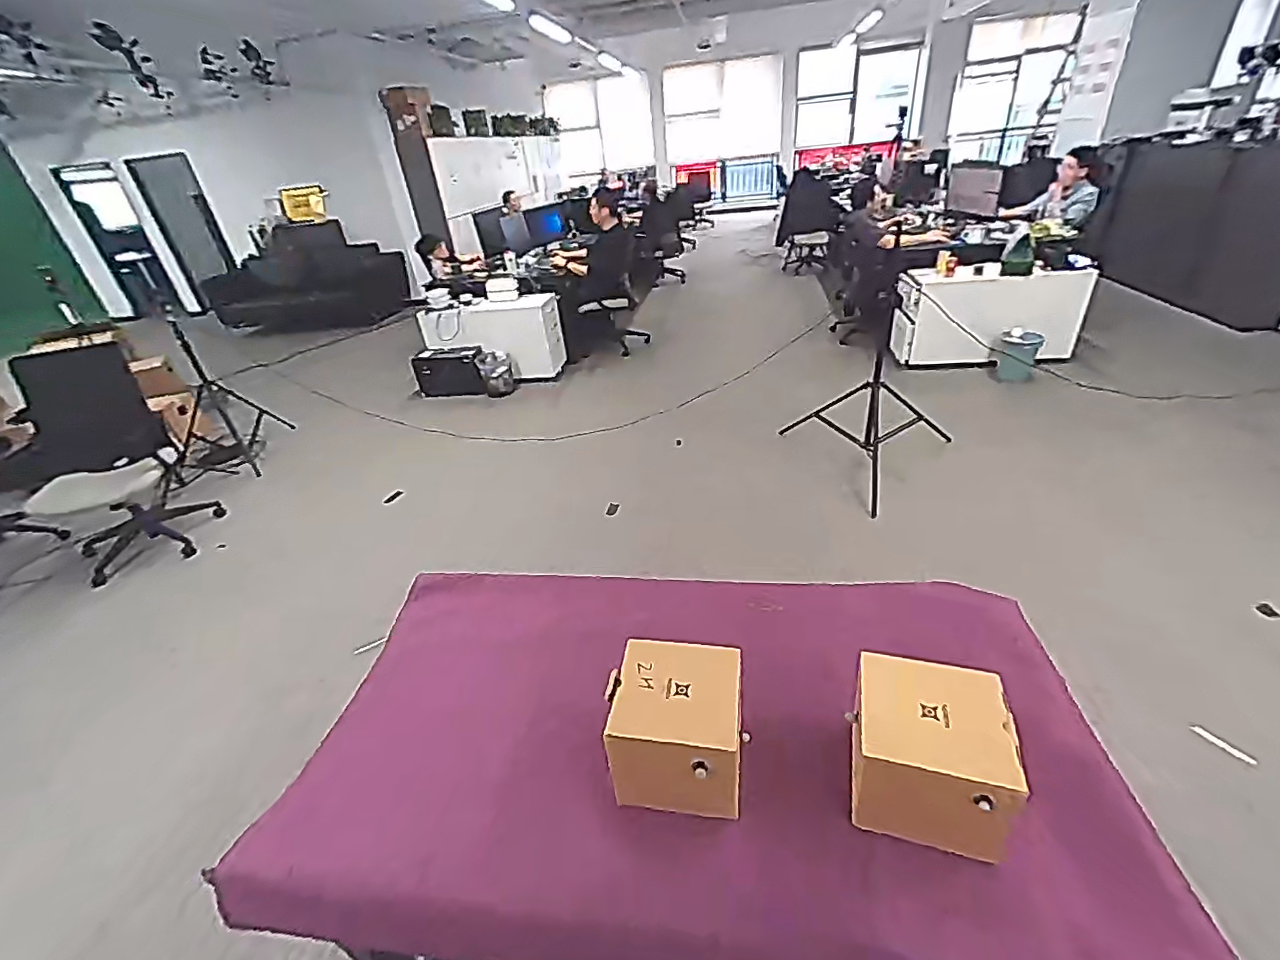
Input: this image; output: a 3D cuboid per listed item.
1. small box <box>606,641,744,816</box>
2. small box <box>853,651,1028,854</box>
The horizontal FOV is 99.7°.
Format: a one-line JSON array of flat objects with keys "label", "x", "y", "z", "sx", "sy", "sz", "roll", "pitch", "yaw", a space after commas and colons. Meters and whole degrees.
[{"label": "small box", "x": 0.062, "y": 0.364, "z": 0.799, "sx": 0.179, "sy": 0.176, "sz": 0.168, "roll": 0, "pitch": 31, "yaw": 12}, {"label": "small box", "x": 0.386, "y": 0.364, "z": 0.731, "sx": 0.179, "sy": 0.176, "sz": 0.168, "roll": 4, "pitch": 33, "yaw": 19}]
